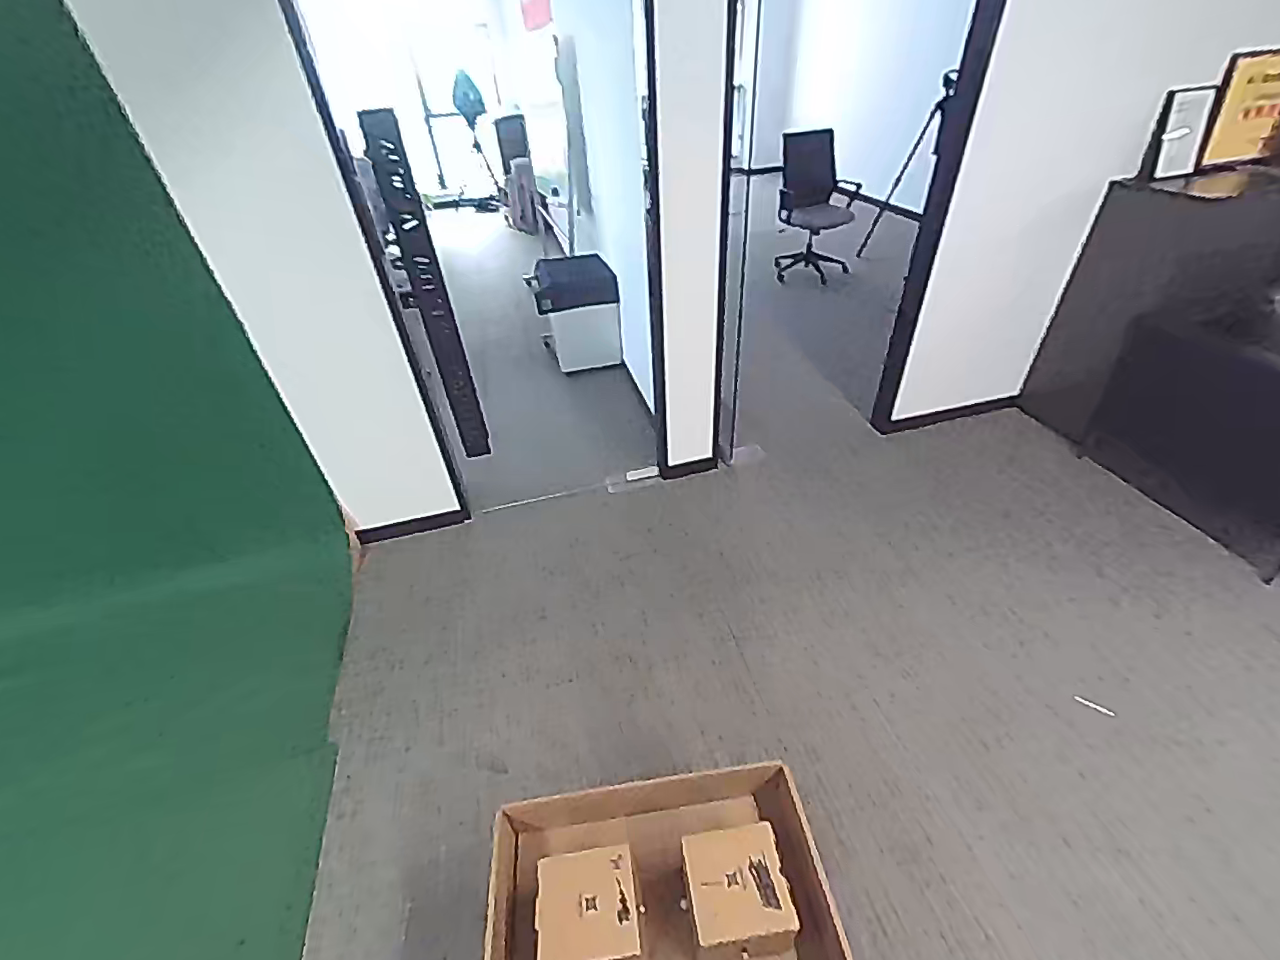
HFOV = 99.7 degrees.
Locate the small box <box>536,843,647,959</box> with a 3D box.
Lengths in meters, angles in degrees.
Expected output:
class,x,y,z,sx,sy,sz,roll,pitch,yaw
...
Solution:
class,x,y,z,sx,sy,sz,roll,pitch,yaw
small box,-0.086,0.808,0.999,0.179,0.176,0.168,-8,38,-3
